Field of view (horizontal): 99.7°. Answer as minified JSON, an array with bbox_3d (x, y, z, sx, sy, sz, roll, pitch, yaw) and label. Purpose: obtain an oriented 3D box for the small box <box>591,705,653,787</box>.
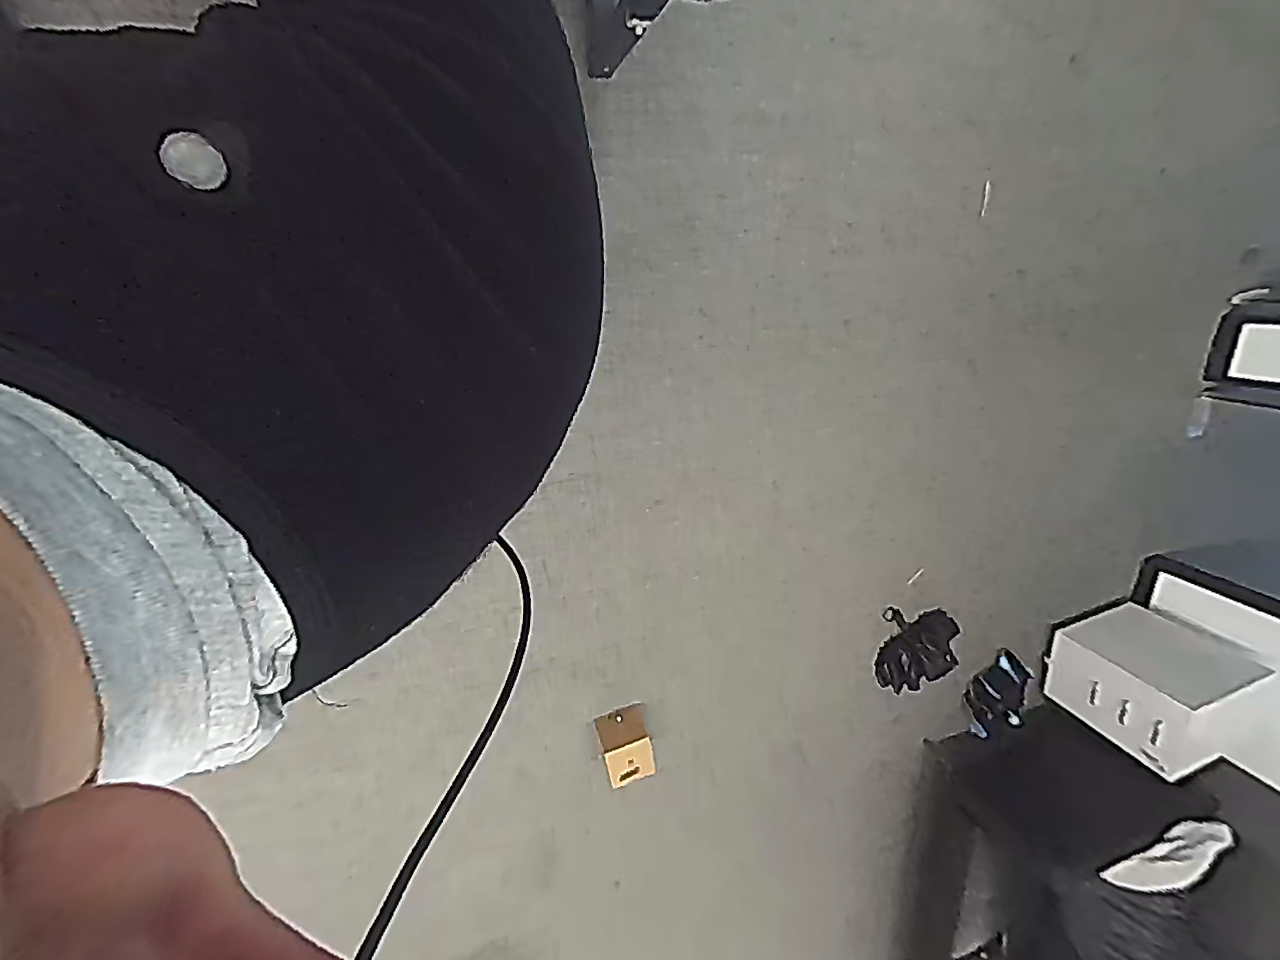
[{"bbox_3d":[-0.067,0.952,1.946,0.168,0.176,0.179,-15,113,-15],"label":"small box"}]
